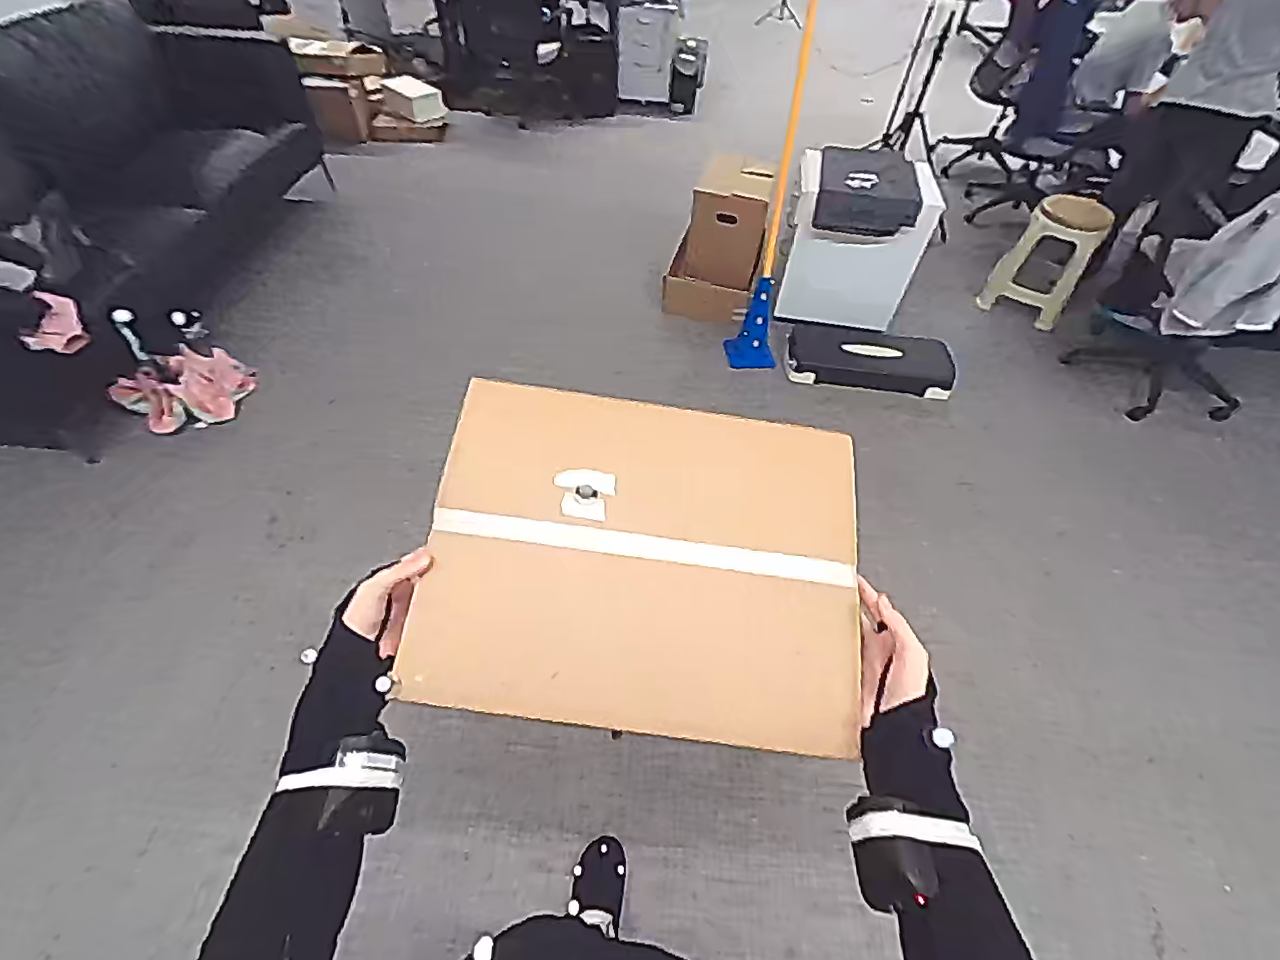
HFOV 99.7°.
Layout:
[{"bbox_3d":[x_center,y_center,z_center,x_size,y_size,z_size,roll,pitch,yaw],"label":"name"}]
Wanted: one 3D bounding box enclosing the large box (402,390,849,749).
[{"bbox_3d":[-0.002,0.120,0.663,0.408,0.320,0.320,8,69,-1],"label":"large box"}]
